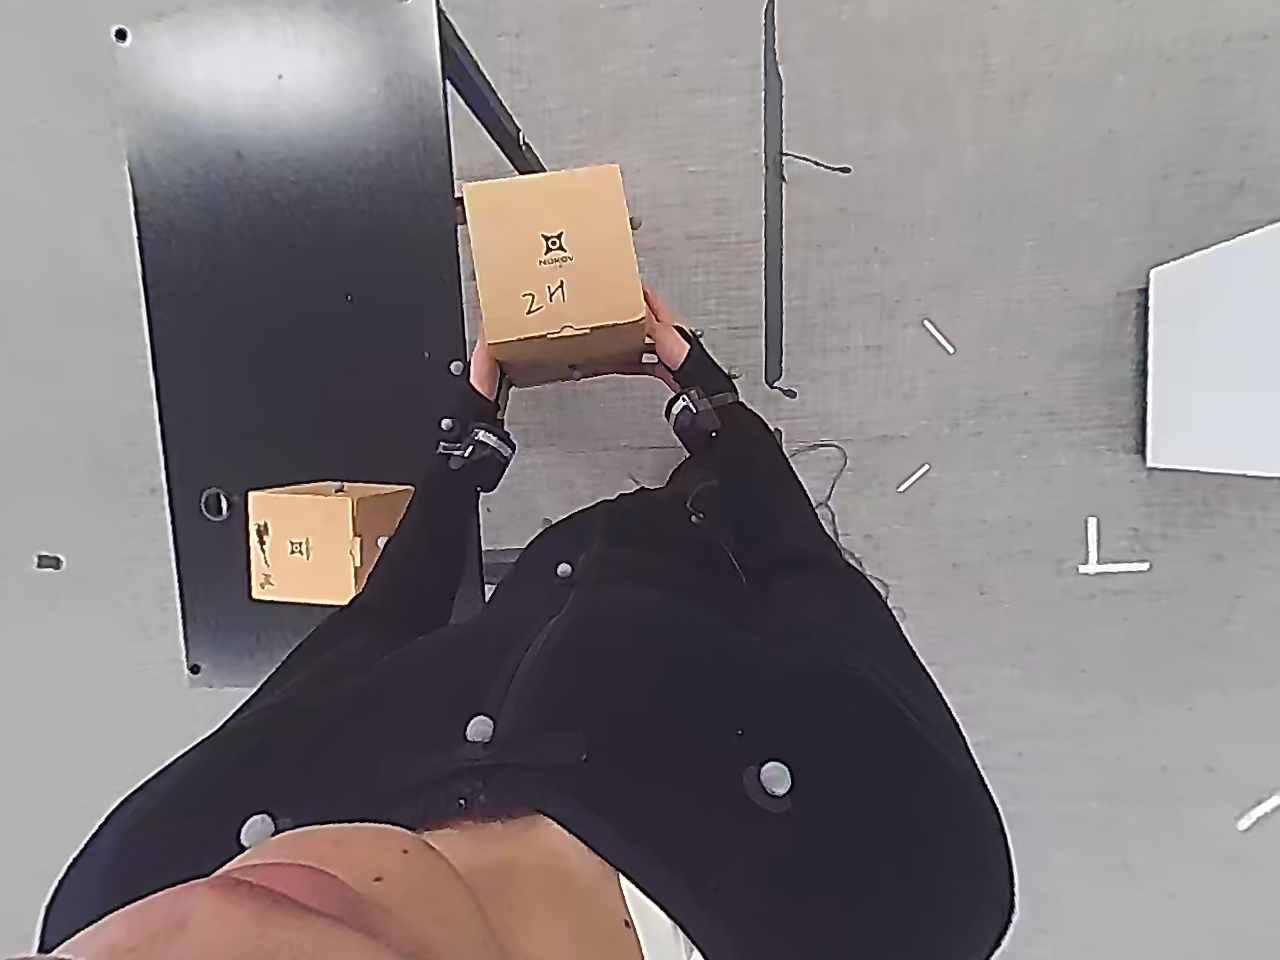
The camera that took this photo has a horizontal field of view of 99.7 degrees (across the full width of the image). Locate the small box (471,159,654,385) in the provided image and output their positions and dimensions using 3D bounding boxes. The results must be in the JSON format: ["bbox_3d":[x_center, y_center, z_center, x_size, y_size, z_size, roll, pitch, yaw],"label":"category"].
[{"bbox_3d":[-0.082,-0.224,0.619,0.168,0.176,0.179,-9,84,-3],"label":"small box"}]

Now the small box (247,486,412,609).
[{"bbox_3d":[-0.489,0.100,0.877,0.179,0.176,0.168,2,95,7],"label":"small box"}]
